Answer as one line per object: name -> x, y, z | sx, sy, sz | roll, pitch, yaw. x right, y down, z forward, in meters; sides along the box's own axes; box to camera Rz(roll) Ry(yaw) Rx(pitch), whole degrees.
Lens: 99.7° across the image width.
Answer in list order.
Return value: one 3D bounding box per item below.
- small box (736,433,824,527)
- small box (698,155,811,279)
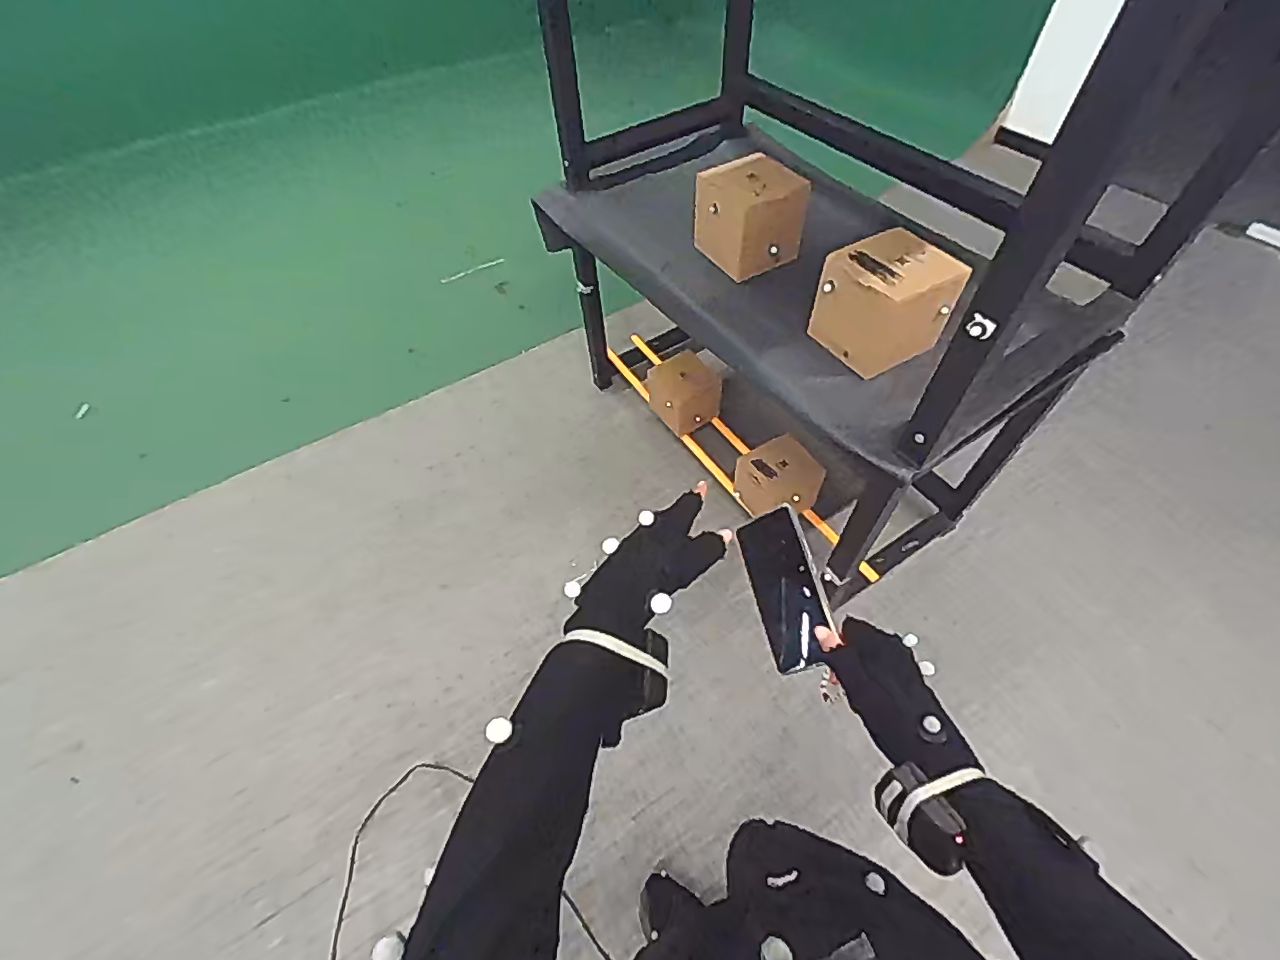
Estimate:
small box -> 0.384, 0.005, 1.524 | 0.179, 0.176, 0.168 | -26, 57, -14
small box -> 0.237, -0.571, 1.179 | 0.168, 0.176, 0.179 | -26, 57, -15
